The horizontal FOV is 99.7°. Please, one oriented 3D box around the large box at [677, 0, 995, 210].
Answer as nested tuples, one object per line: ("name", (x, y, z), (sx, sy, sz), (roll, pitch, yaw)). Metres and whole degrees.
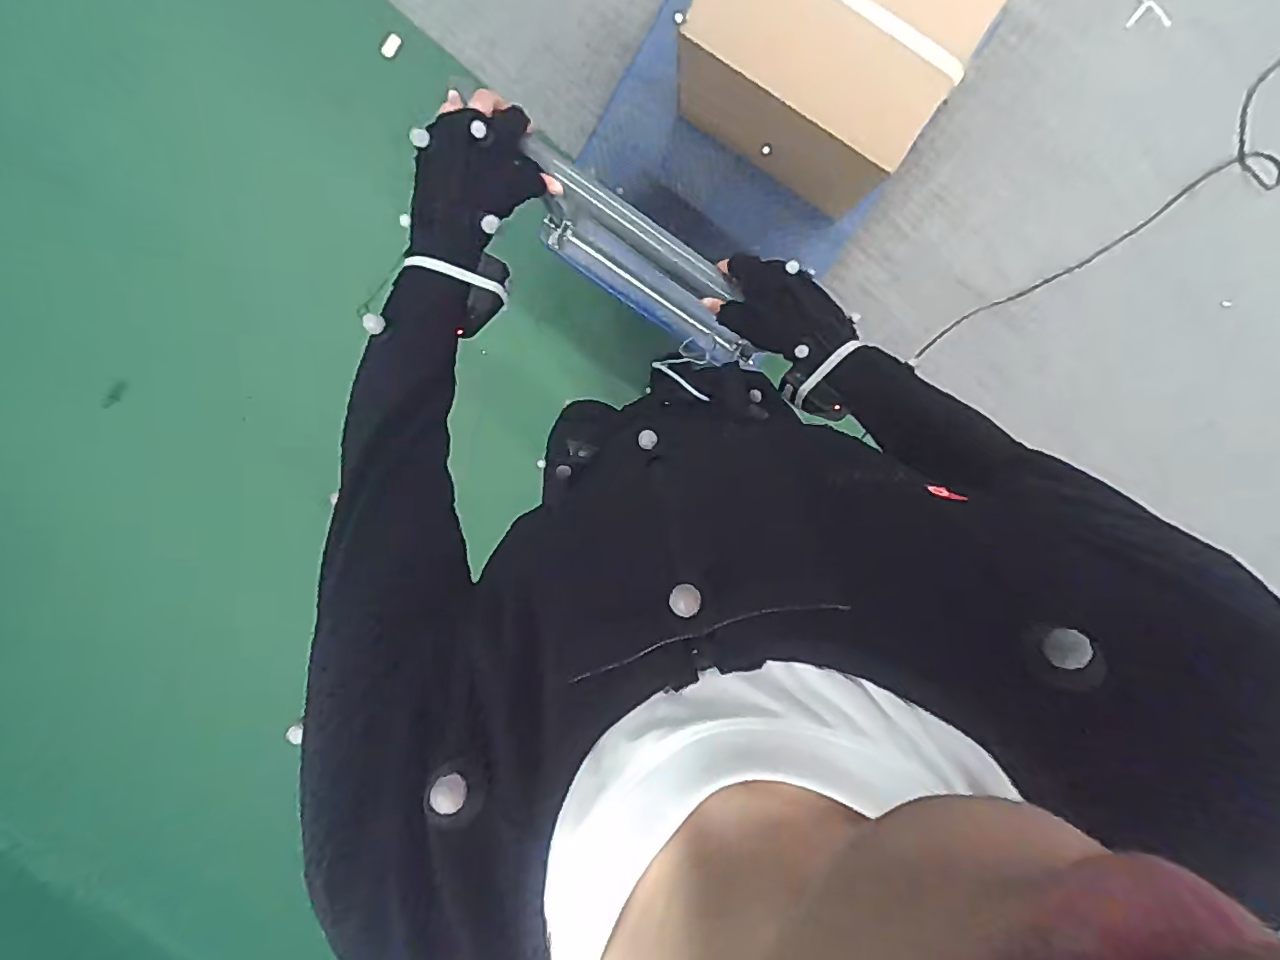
("large box", (0.316, -0.754, 0.956), (0.408, 0.320, 0.320), (31, 103, -3))
